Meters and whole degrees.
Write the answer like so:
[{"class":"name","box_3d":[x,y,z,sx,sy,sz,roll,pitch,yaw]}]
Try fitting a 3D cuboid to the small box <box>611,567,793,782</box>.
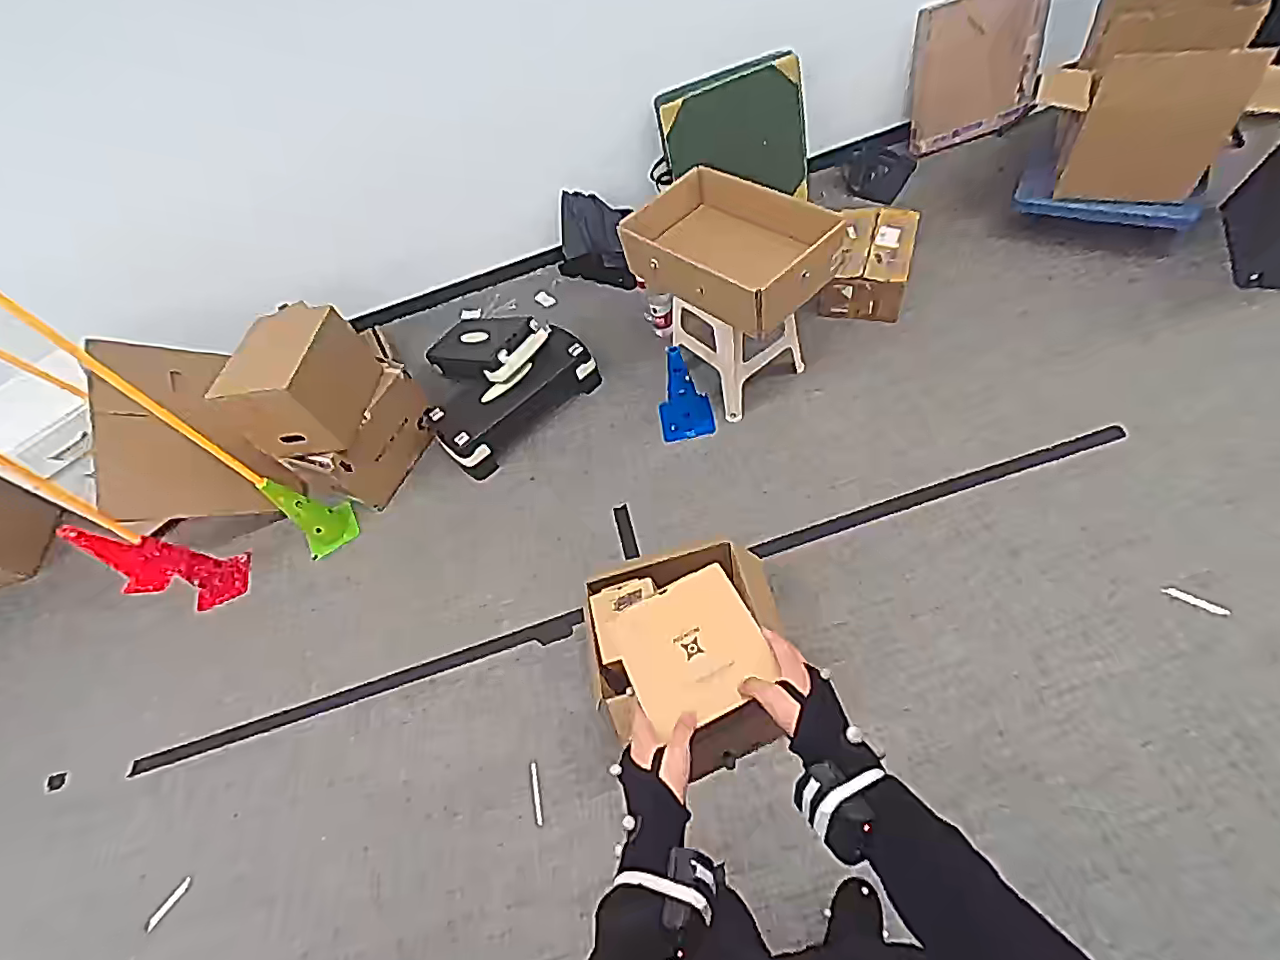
[{"class":"small box","box_3d":[0.082,0.254,0.704,0.168,0.176,0.179,-26,45,-5]}]
